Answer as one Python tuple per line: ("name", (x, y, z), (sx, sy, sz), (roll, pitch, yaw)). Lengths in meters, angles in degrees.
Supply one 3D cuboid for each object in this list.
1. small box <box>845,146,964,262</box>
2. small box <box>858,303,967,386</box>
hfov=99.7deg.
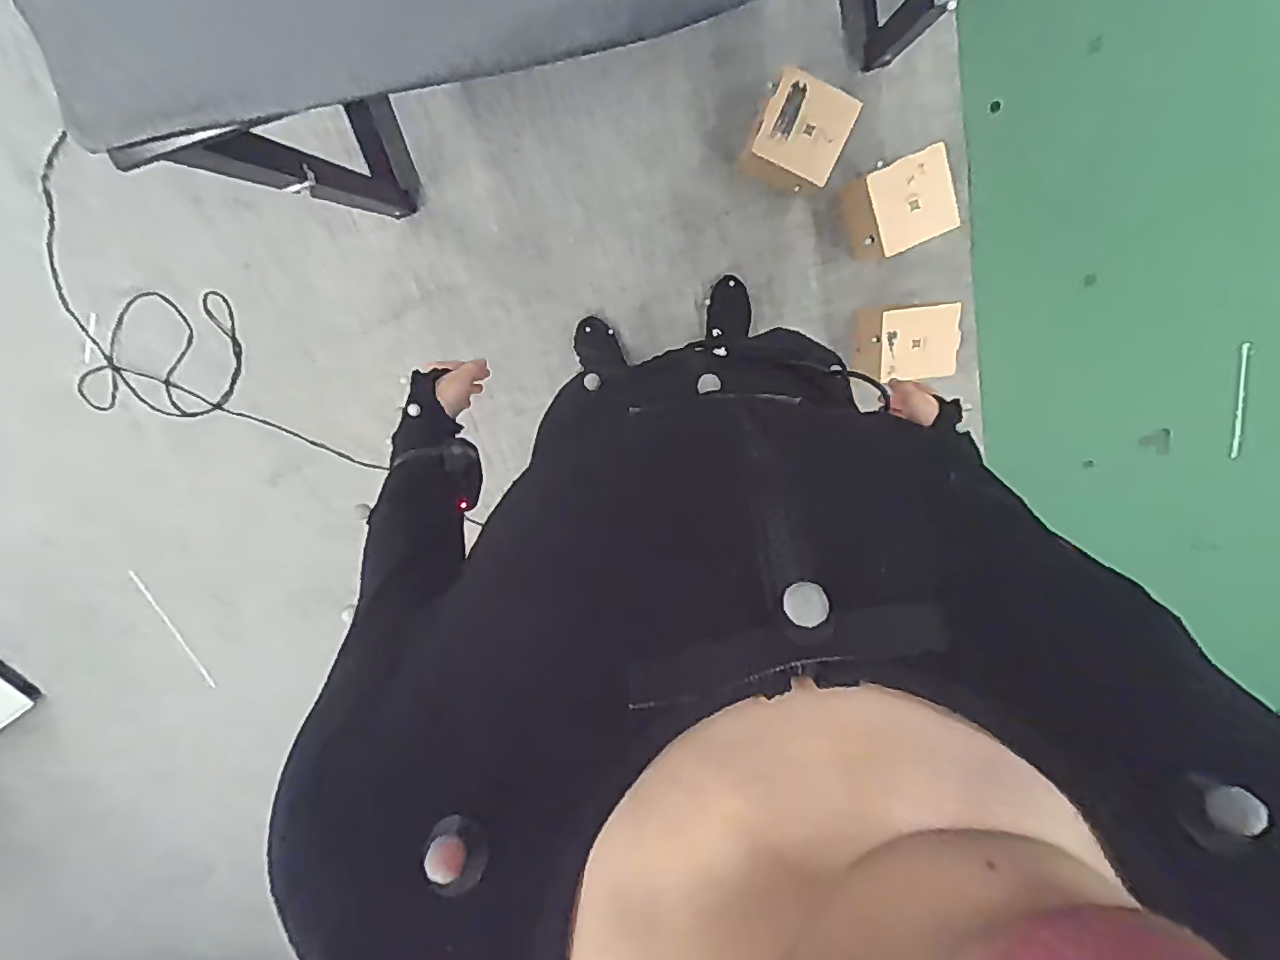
("small box", (0.582, -0.603, 1.206), (0.168, 0.176, 0.179), (-22, 108, 8))
("small box", (0.647, -0.331, 1.303), (0.179, 0.176, 0.168), (-6, 110, 3))
